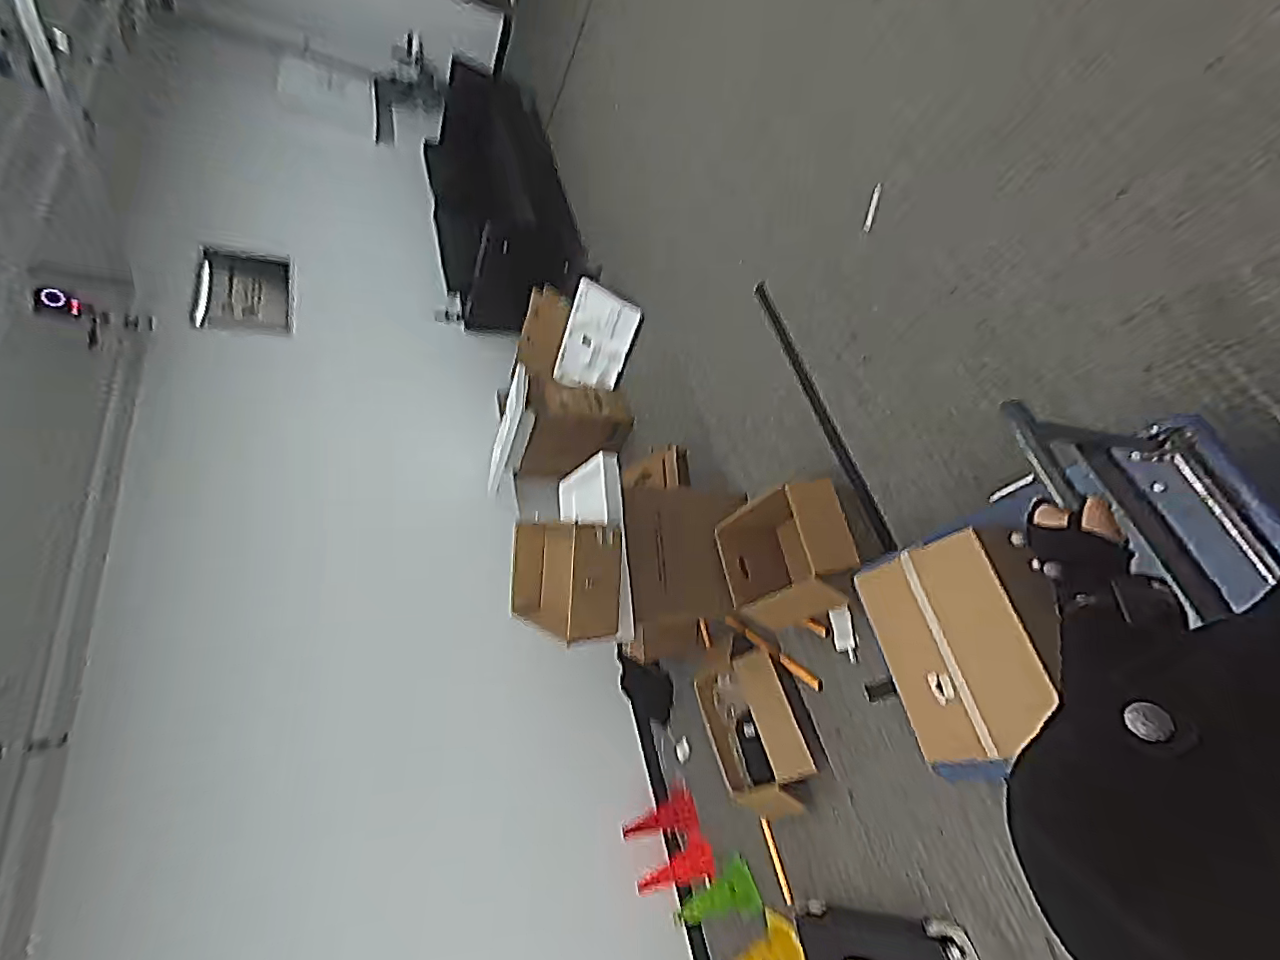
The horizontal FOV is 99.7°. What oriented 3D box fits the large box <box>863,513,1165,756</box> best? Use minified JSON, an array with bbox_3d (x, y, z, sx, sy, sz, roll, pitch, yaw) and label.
[{"bbox_3d":[0.767,0.317,1.150,0.320,0.320,0.408,-48,51,51],"label":"large box"}]
